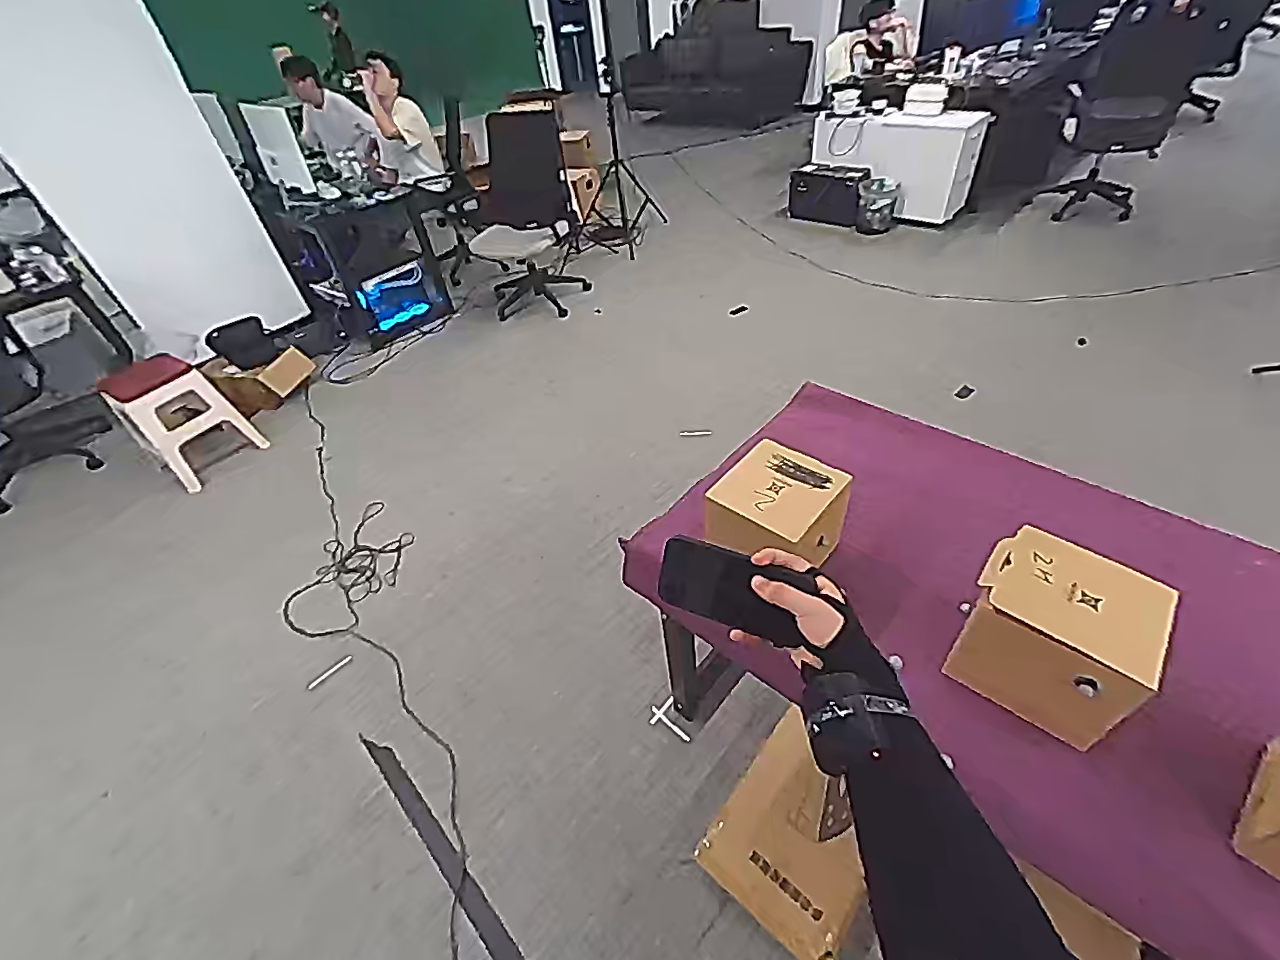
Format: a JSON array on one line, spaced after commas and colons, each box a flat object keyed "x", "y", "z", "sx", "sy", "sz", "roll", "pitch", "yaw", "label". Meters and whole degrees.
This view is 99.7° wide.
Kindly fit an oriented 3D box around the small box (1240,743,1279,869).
[{"x": 0.764, "y": 0.341, "z": 0.528, "sx": 0.168, "sy": 0.176, "sz": 0.179, "roll": -35, "pitch": 49, "yaw": -25, "label": "small box"}]

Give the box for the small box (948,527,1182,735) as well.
[{"x": 0.543, "y": 0.201, "z": 0.709, "sx": 0.179, "sy": 0.176, "sz": 0.168, "roll": 28, "pitch": 52, "yaw": 32, "label": "small box"}]
